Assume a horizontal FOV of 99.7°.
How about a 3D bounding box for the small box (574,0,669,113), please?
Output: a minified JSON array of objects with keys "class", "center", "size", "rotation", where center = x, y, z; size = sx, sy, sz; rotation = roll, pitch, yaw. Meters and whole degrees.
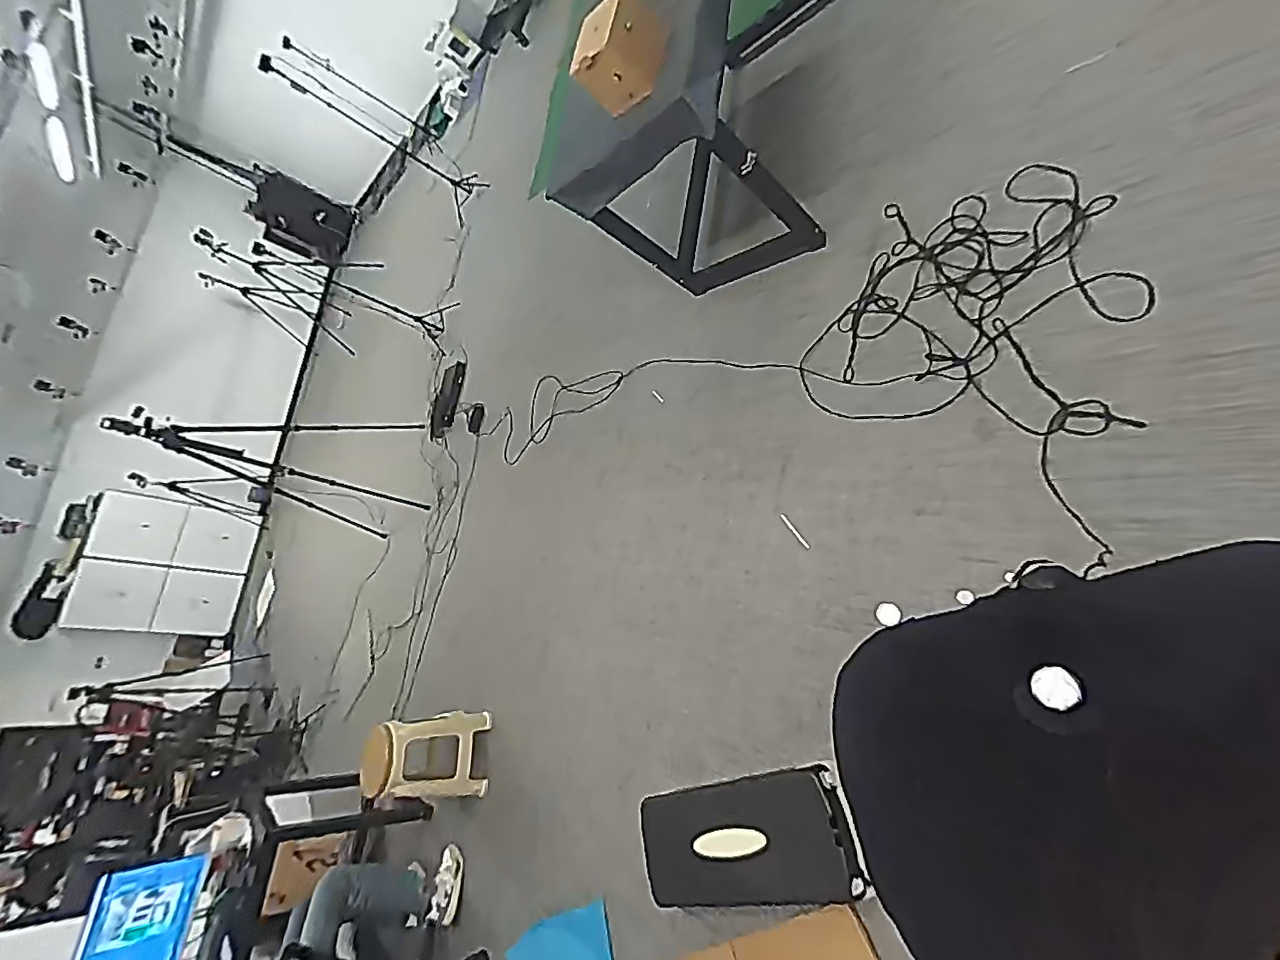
[{"class":"small box","center":[-0.045,-1.117,1.430],"size":[0.168,0.176,0.179],"rotation":[7,80,48]}]
